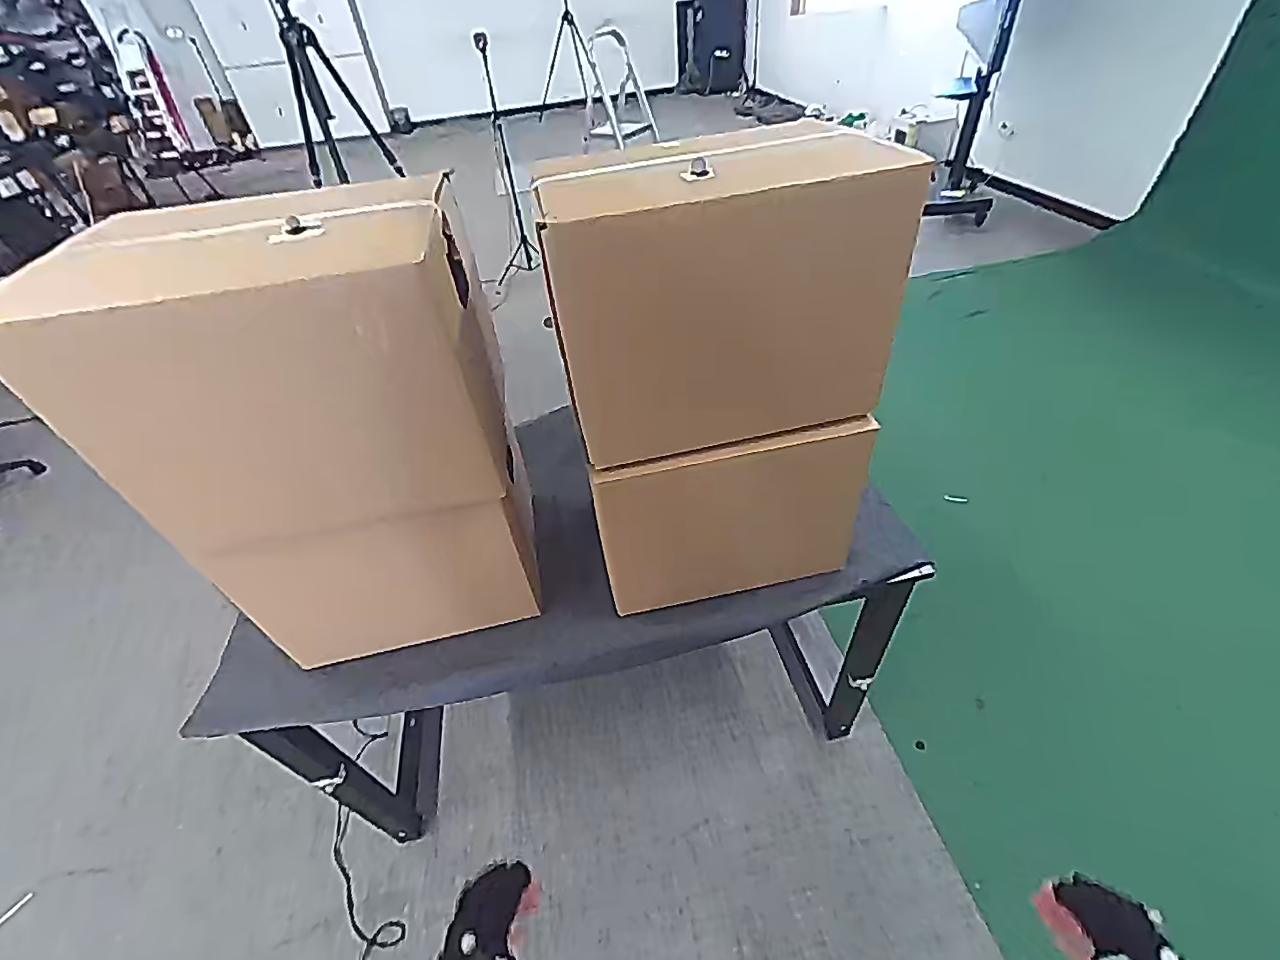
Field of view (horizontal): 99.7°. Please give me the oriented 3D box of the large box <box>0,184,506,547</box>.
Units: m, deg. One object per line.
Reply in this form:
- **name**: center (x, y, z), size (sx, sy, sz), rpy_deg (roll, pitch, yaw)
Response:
- **large box**: center (-0.406, -0.154, 0.695), size (0.408, 0.320, 0.320), rpy_deg (-10, 45, -6)
